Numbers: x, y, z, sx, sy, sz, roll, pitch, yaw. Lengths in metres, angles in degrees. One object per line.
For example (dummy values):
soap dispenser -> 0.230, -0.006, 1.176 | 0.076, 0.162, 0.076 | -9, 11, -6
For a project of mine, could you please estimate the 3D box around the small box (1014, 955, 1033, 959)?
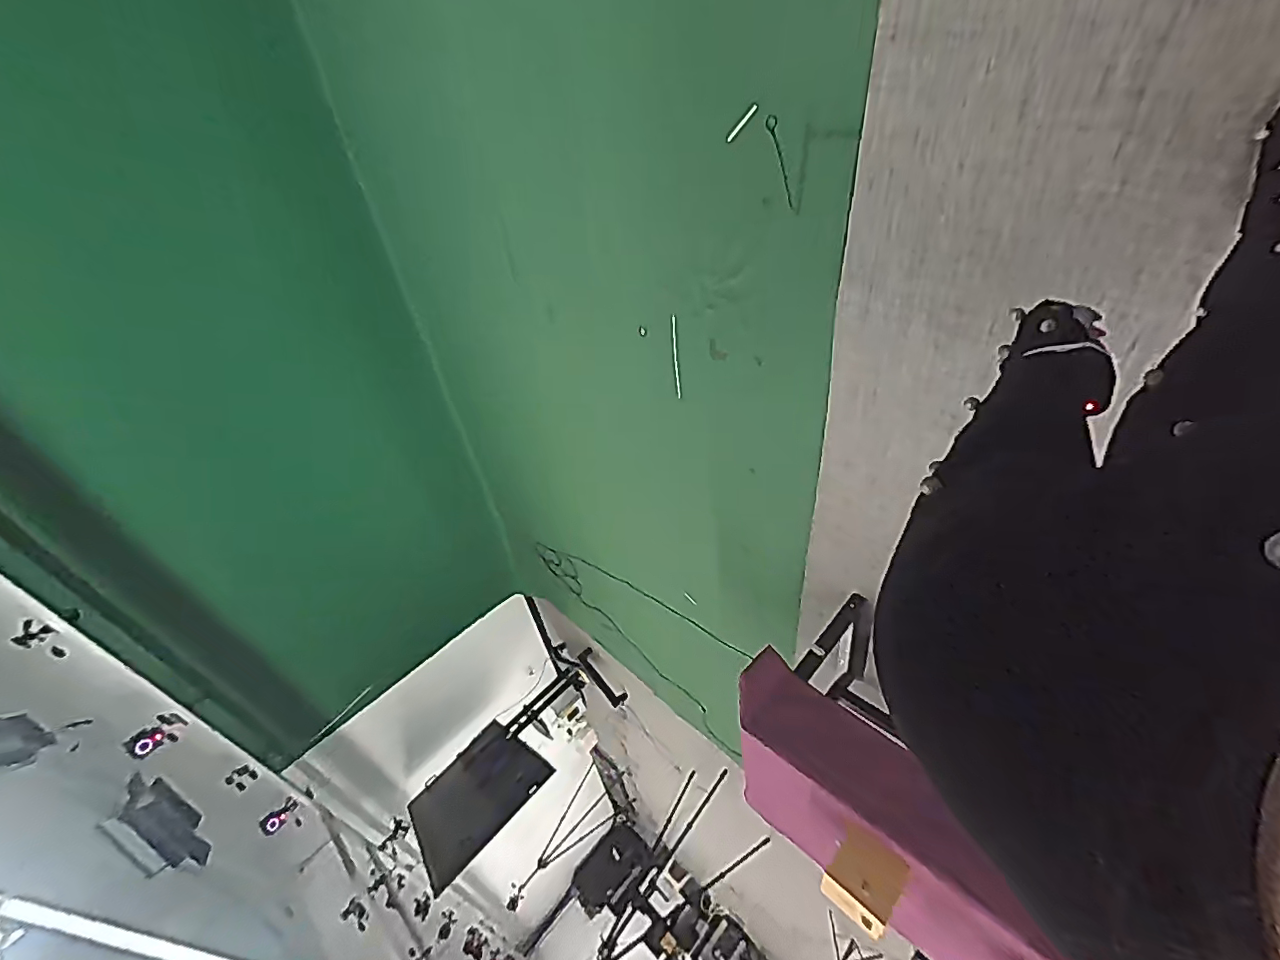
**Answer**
small box -> 0.942, 1.281, 1.274 | 0.168, 0.176, 0.179 | 28, 143, 36

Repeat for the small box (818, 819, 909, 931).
small box -> 0.634, 1.115, 1.534 | 0.179, 0.176, 0.168 | 28, 143, 37
